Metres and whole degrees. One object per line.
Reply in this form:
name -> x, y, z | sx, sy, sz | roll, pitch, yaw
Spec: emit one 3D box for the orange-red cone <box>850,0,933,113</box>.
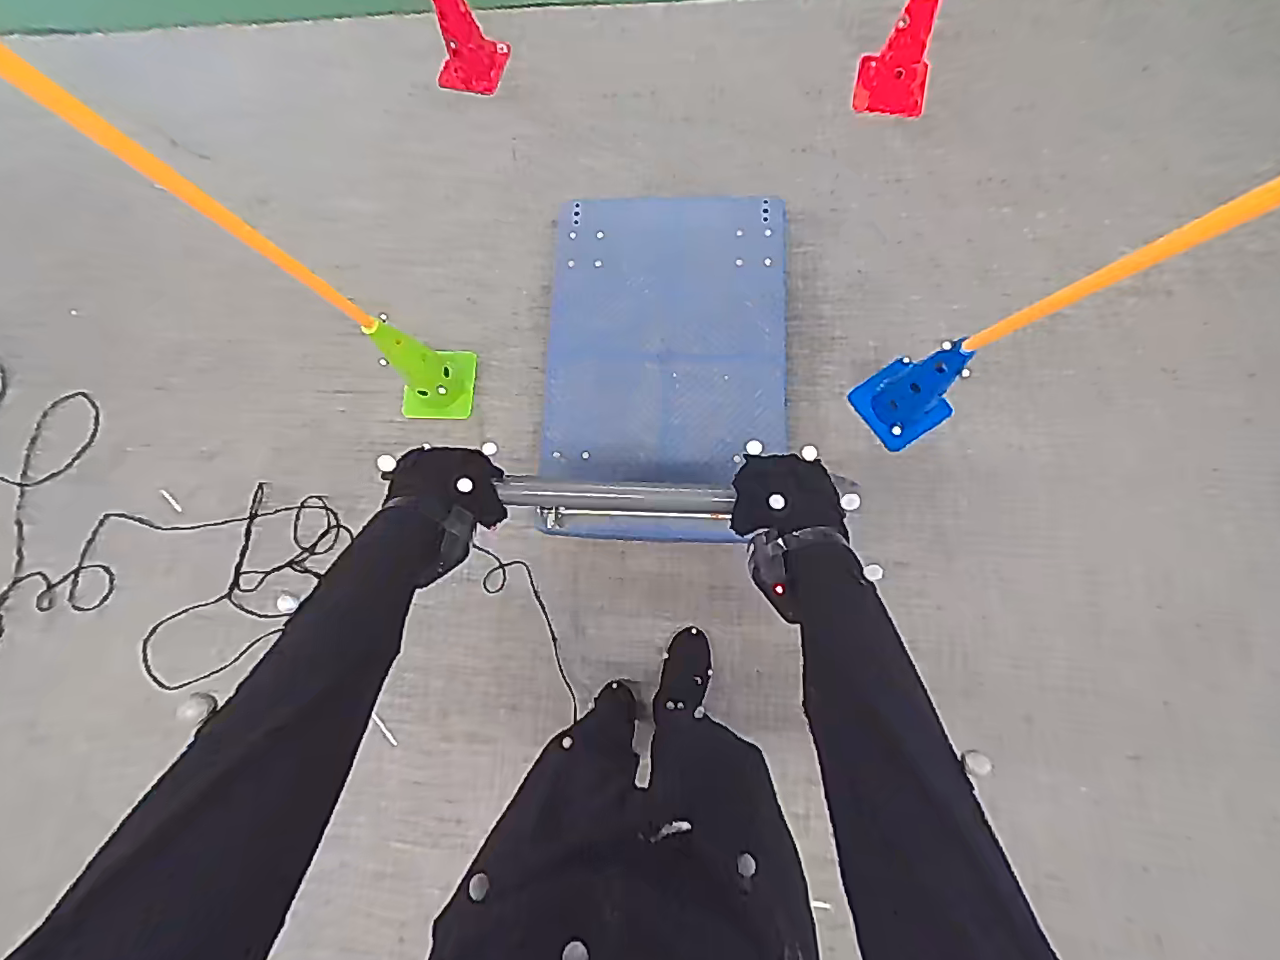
orange-red cone -> 0.709, -1.194, 1.412 | 0.198, 0.360, 0.199 | 13, 81, 8
